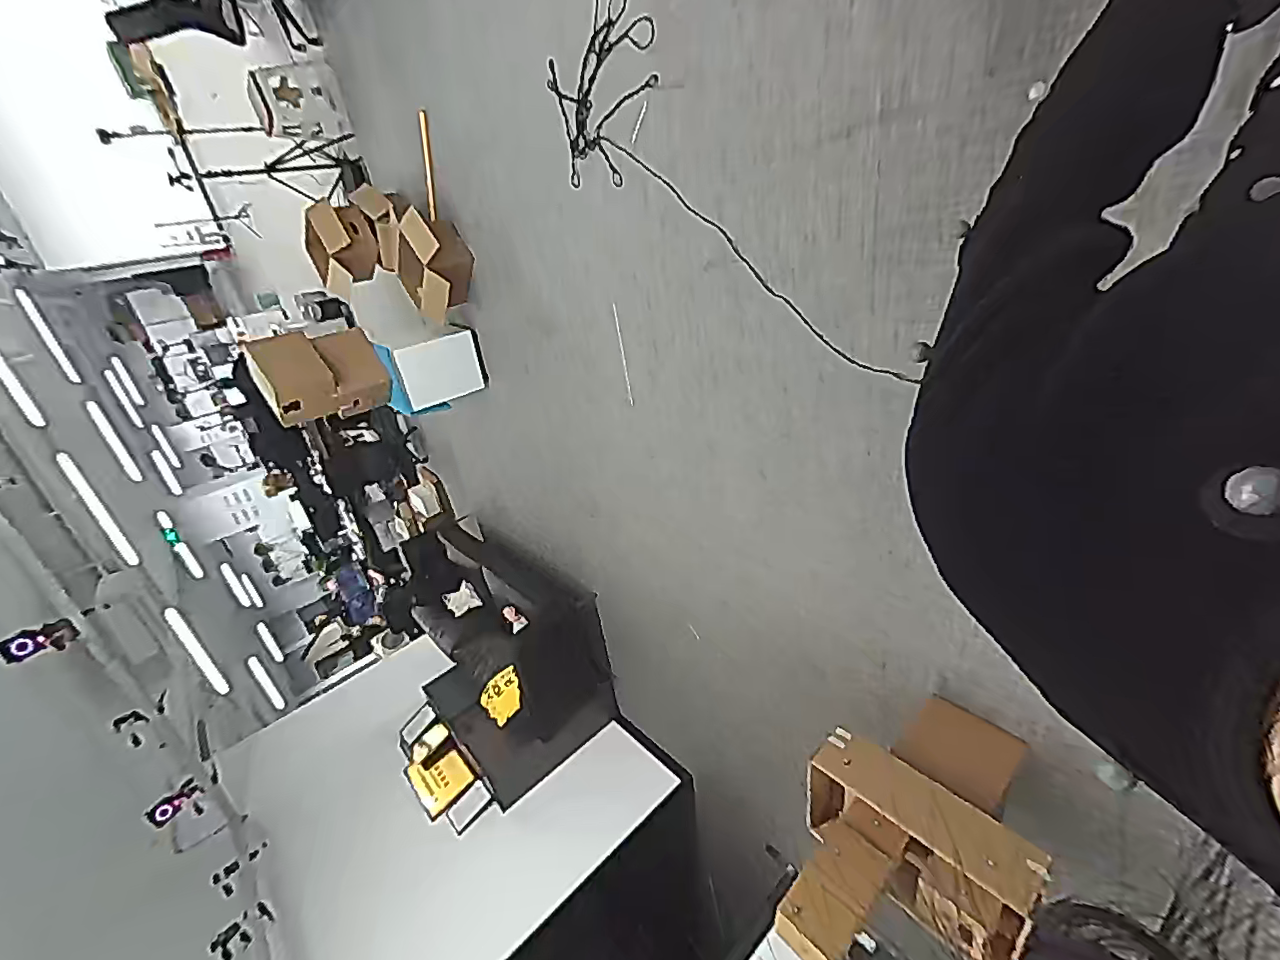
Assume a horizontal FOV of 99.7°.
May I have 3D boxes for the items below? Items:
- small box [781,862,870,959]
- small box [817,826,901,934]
[{"bbox_3d":[0.522,1.240,1.523,0.179,0.176,0.168,27,135,41],"label":"small box"},{"bbox_3d":[0.643,1.174,1.608,0.179,0.176,0.168,25,133,41],"label":"small box"}]
